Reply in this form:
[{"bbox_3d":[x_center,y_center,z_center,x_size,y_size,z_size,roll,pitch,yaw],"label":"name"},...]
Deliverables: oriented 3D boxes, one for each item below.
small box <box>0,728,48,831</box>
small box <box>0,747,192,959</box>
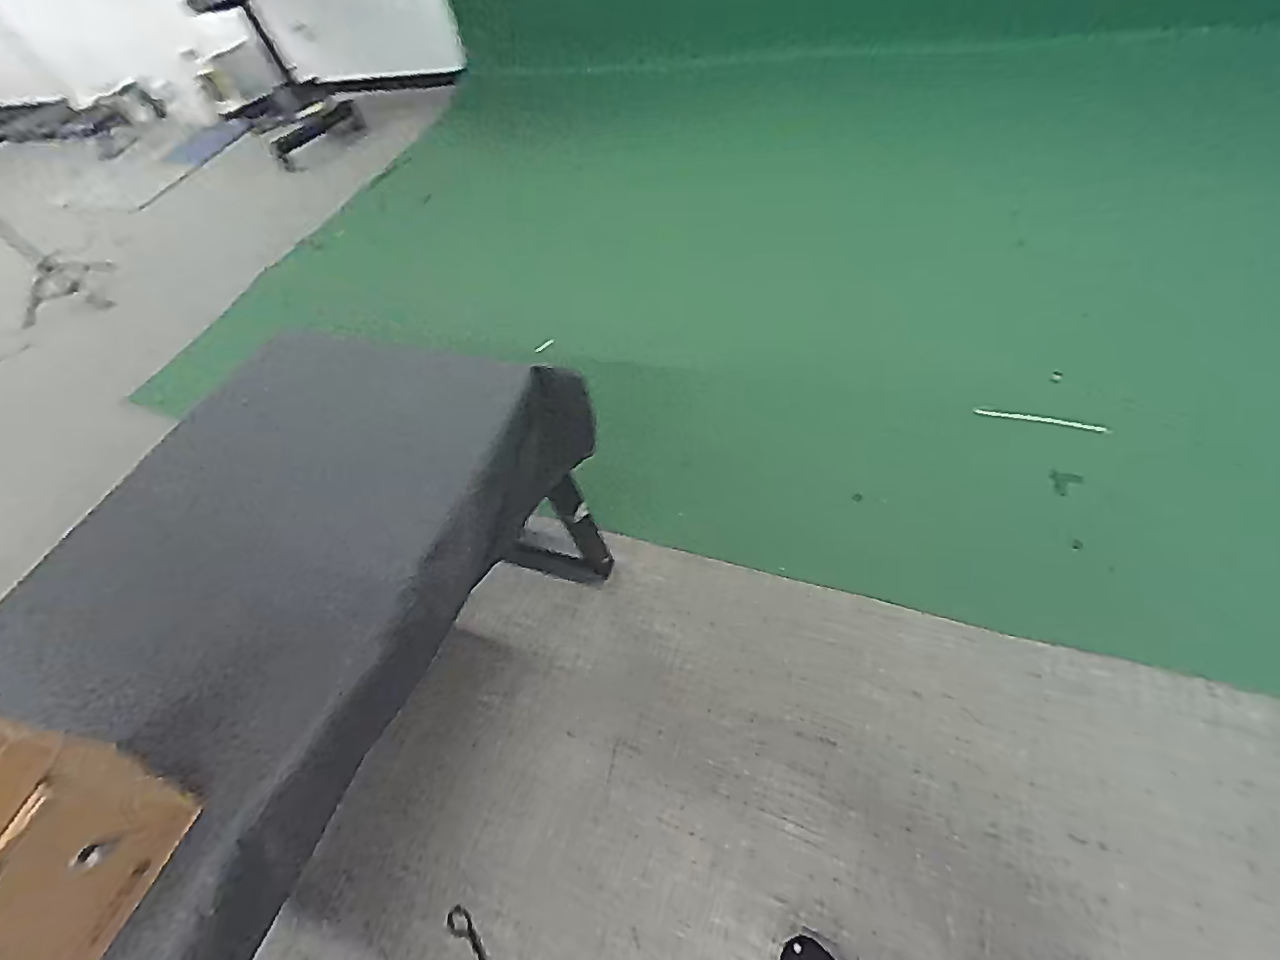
[{"bbox_3d":[-0.619,0.255,0.387,0.168,0.176,0.179,5,56,16],"label":"small box"},{"bbox_3d":[-0.593,0.361,0.509,0.179,0.176,0.168,11,58,20],"label":"small box"}]
